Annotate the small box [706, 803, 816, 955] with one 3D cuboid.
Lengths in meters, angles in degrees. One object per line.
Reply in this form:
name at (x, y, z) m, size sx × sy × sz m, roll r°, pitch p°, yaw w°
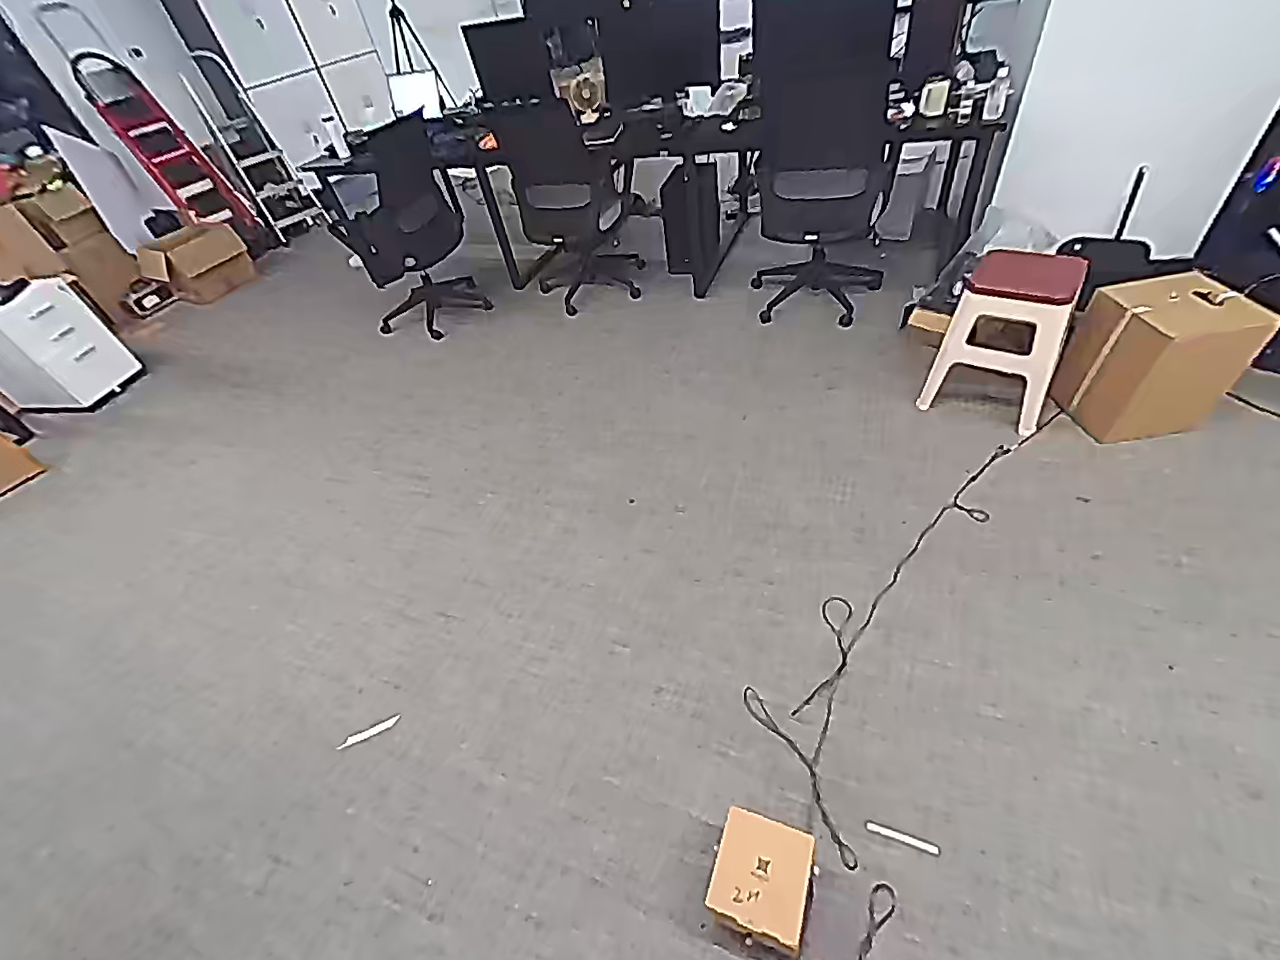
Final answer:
small box at (0.235, 0.765, 1.038) m, size 0.168 × 0.176 × 0.179 m, roll 9°, pitch 48°, yaw 23°
